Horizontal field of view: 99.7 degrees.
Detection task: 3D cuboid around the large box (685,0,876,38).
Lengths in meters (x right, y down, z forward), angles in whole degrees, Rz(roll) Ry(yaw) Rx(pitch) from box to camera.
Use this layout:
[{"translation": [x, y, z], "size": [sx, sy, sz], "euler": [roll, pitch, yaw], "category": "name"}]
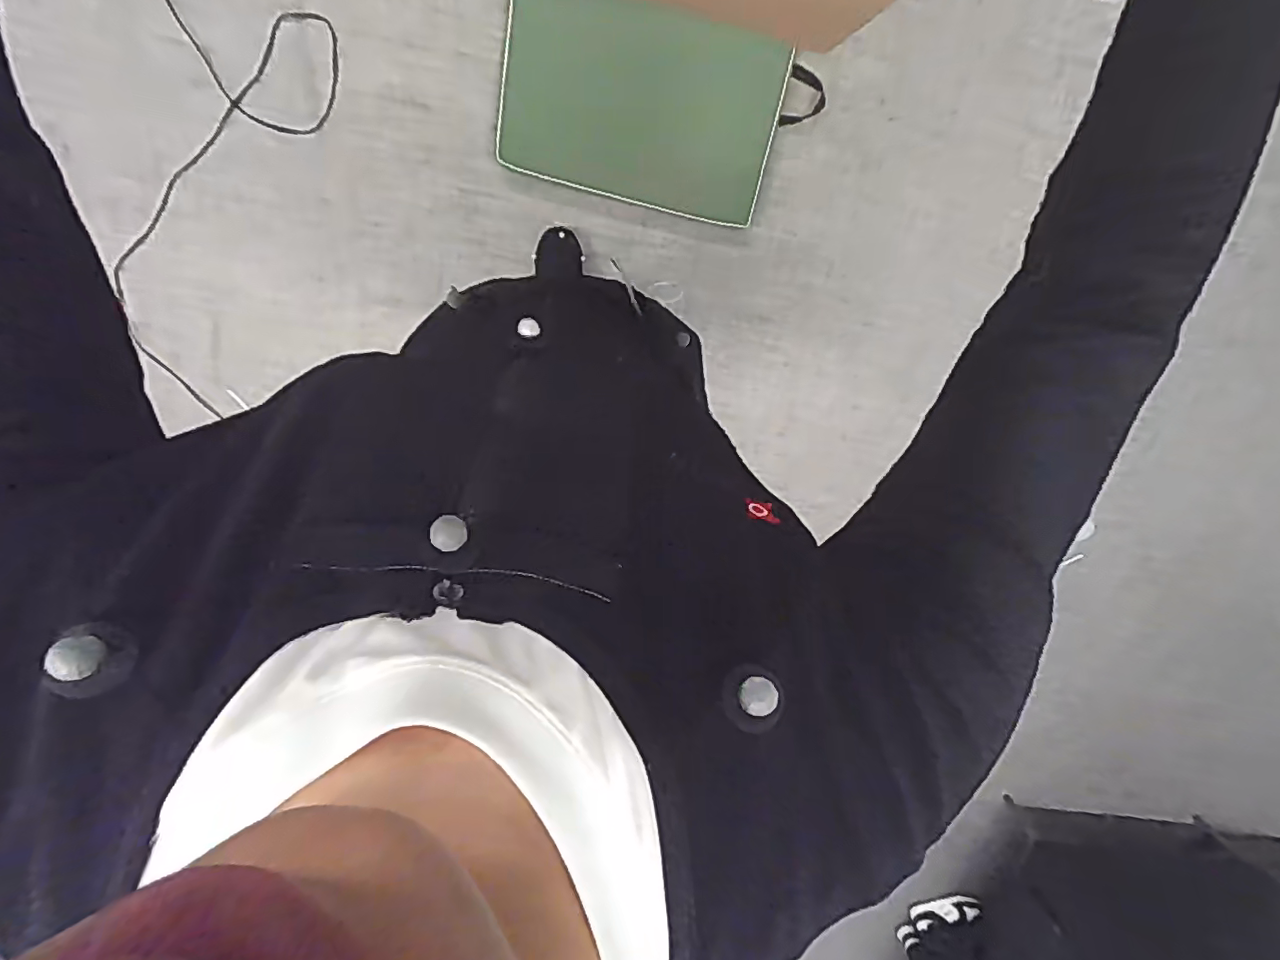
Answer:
[{"translation": [0.012, -0.483, 0.251], "size": [0.408, 0.320, 0.320], "euler": [9, 115, -8], "category": "large box"}]
